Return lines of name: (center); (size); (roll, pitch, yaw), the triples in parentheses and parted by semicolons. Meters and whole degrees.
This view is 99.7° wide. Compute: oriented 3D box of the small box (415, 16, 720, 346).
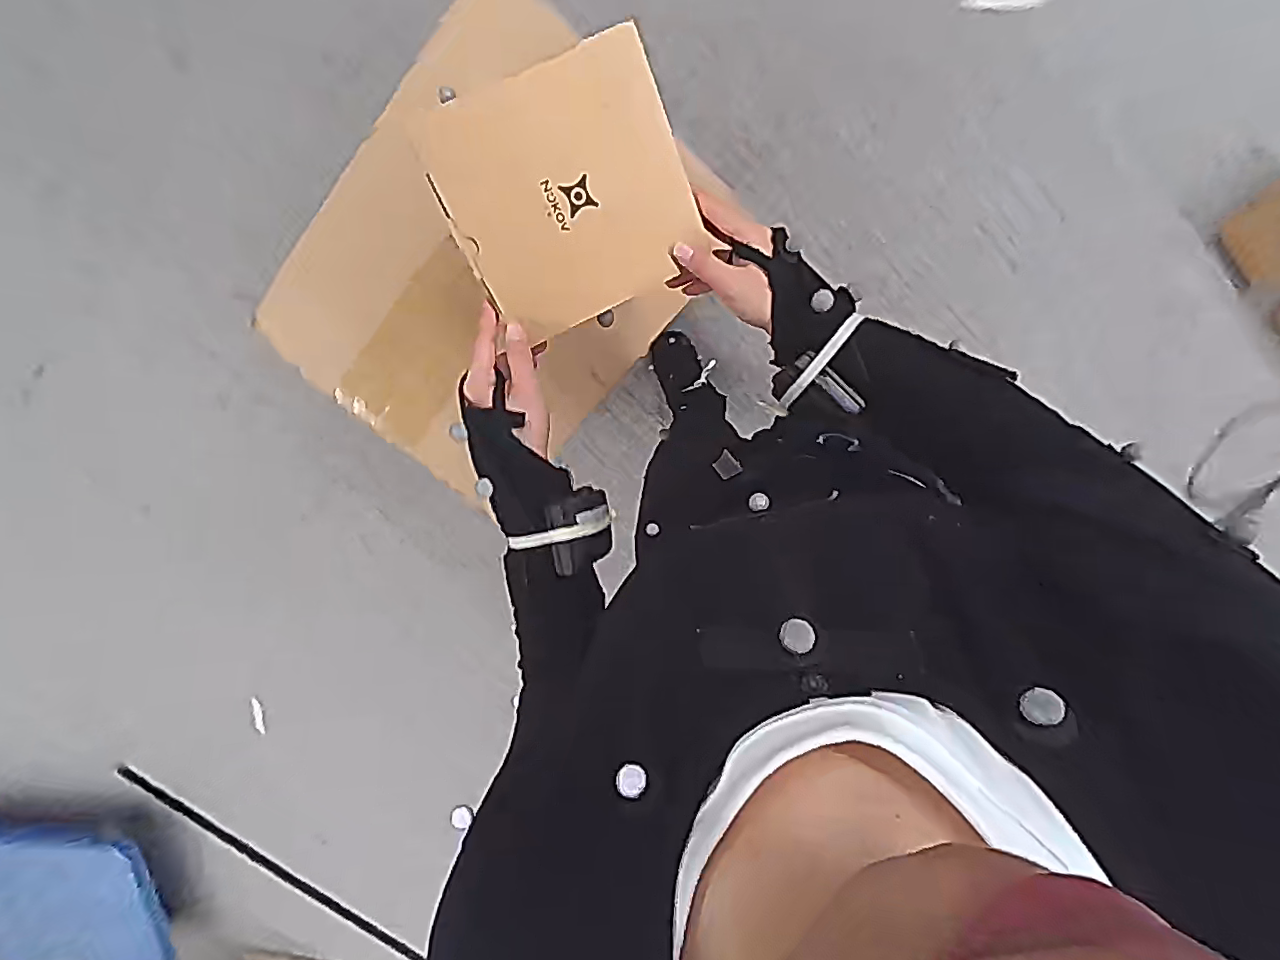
small box: (-0.062, -0.236, 0.457); (0.179, 0.176, 0.168); (-26, 117, -3)

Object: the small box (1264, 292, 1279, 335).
small box: (1.519, -0.373, 1.141); (0.168, 0.176, 0.179); (41, 105, -10)

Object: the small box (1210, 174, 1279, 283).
small box: (1.343, -0.522, 1.099); (0.168, 0.176, 0.179); (-41, 101, 14)
